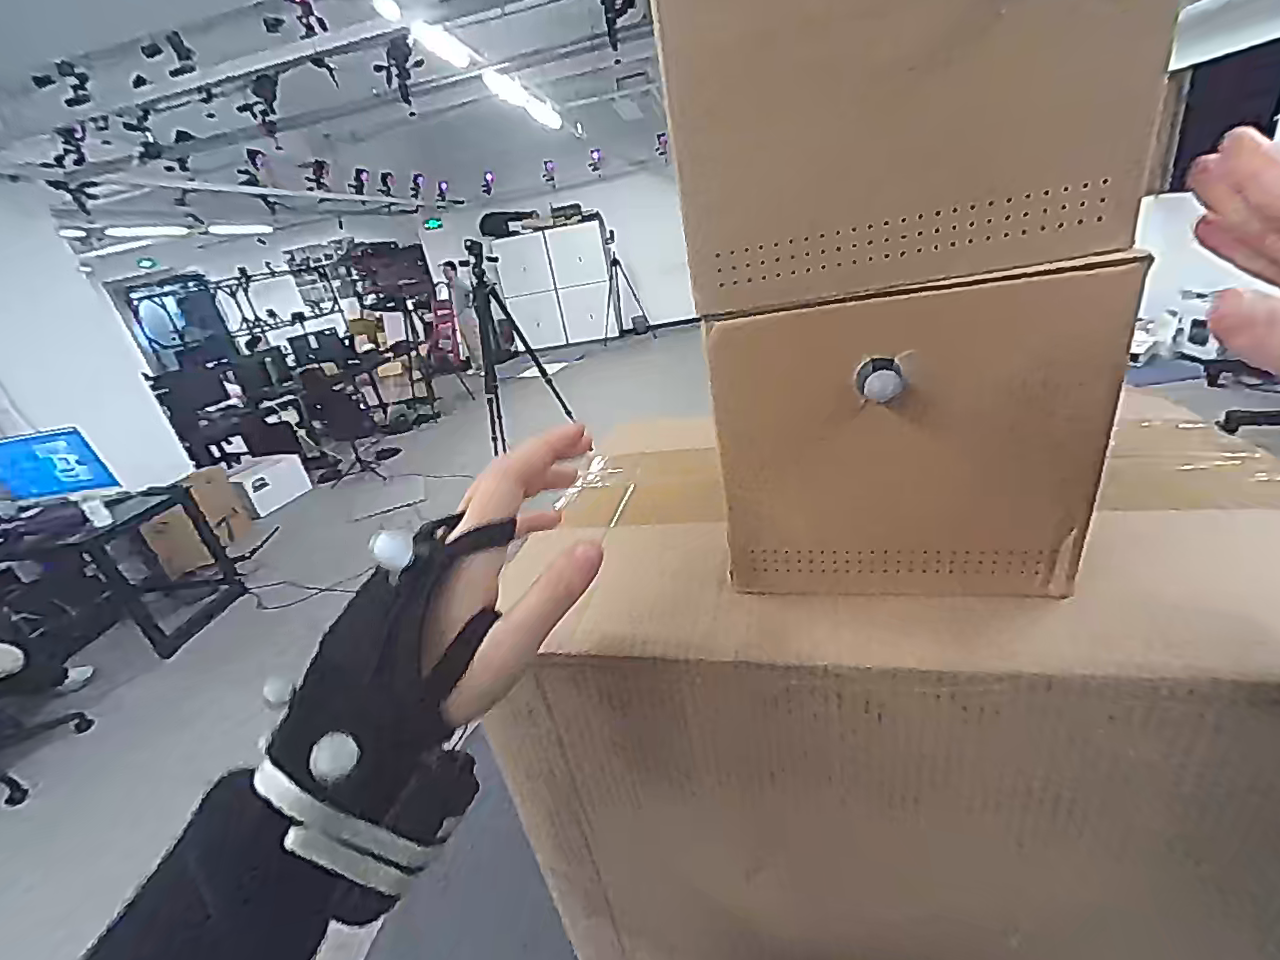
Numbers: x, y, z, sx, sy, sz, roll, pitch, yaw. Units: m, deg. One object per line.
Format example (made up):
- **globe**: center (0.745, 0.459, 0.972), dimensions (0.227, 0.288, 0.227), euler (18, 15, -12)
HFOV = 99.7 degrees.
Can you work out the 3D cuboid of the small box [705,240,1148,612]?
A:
- **small box**: center (0.148, -0.035, 0.334), dimensions (0.179, 0.176, 0.168), euler (-3, 27, 18)
